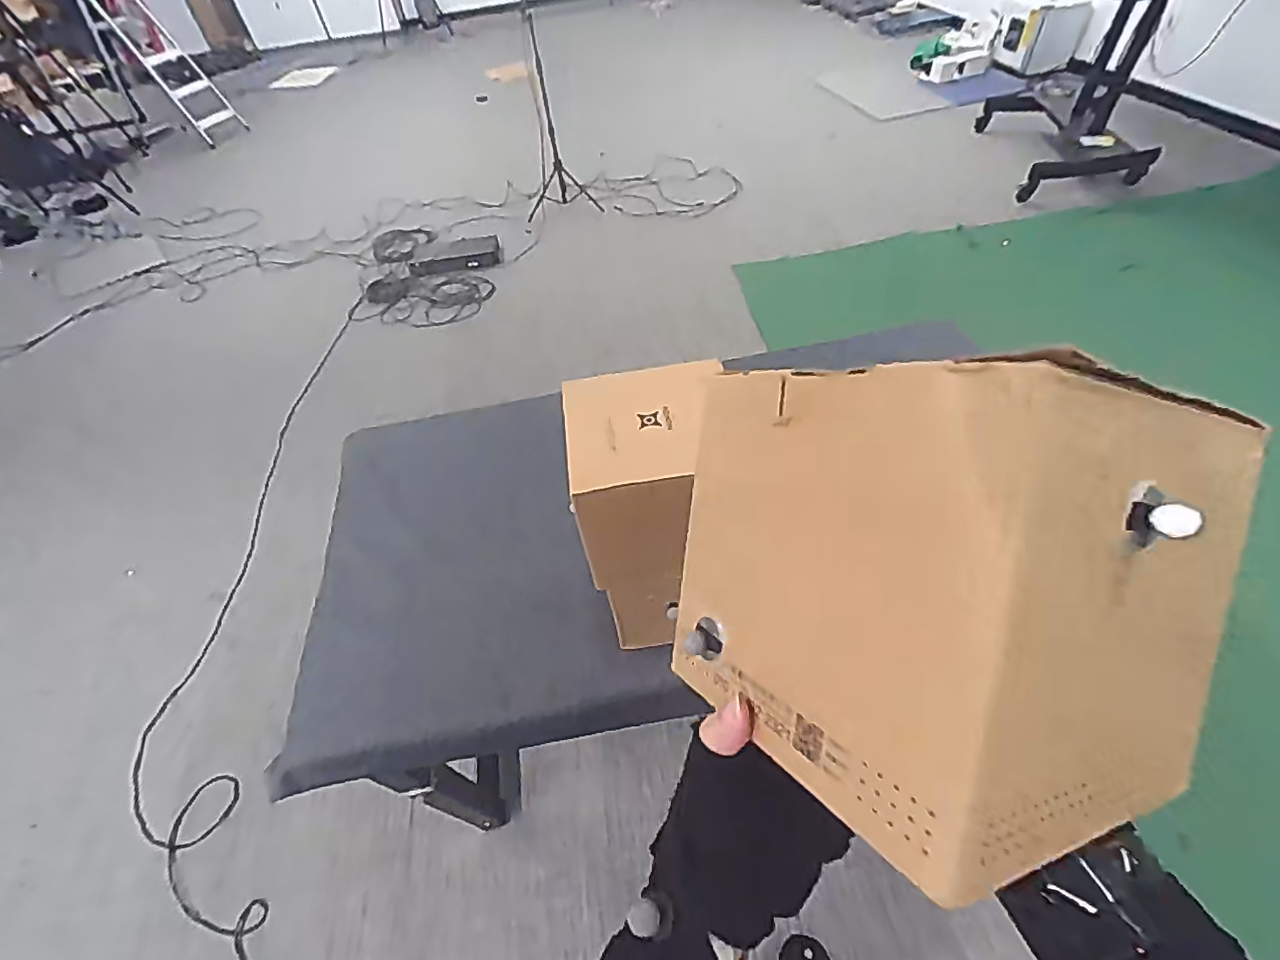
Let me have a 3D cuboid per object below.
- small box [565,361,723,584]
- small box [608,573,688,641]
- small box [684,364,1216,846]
[{"bbox_3d":[0.020,-0.005,0.602,0.179,0.176,0.168,-10,48,-1],"label":"small box"},{"bbox_3d":[0.046,0.100,0.725,0.179,0.176,0.168,-8,49,0],"label":"small box"},{"bbox_3d":[0.135,0.040,0.276,0.179,0.176,0.168,3,8,-30],"label":"small box"}]
